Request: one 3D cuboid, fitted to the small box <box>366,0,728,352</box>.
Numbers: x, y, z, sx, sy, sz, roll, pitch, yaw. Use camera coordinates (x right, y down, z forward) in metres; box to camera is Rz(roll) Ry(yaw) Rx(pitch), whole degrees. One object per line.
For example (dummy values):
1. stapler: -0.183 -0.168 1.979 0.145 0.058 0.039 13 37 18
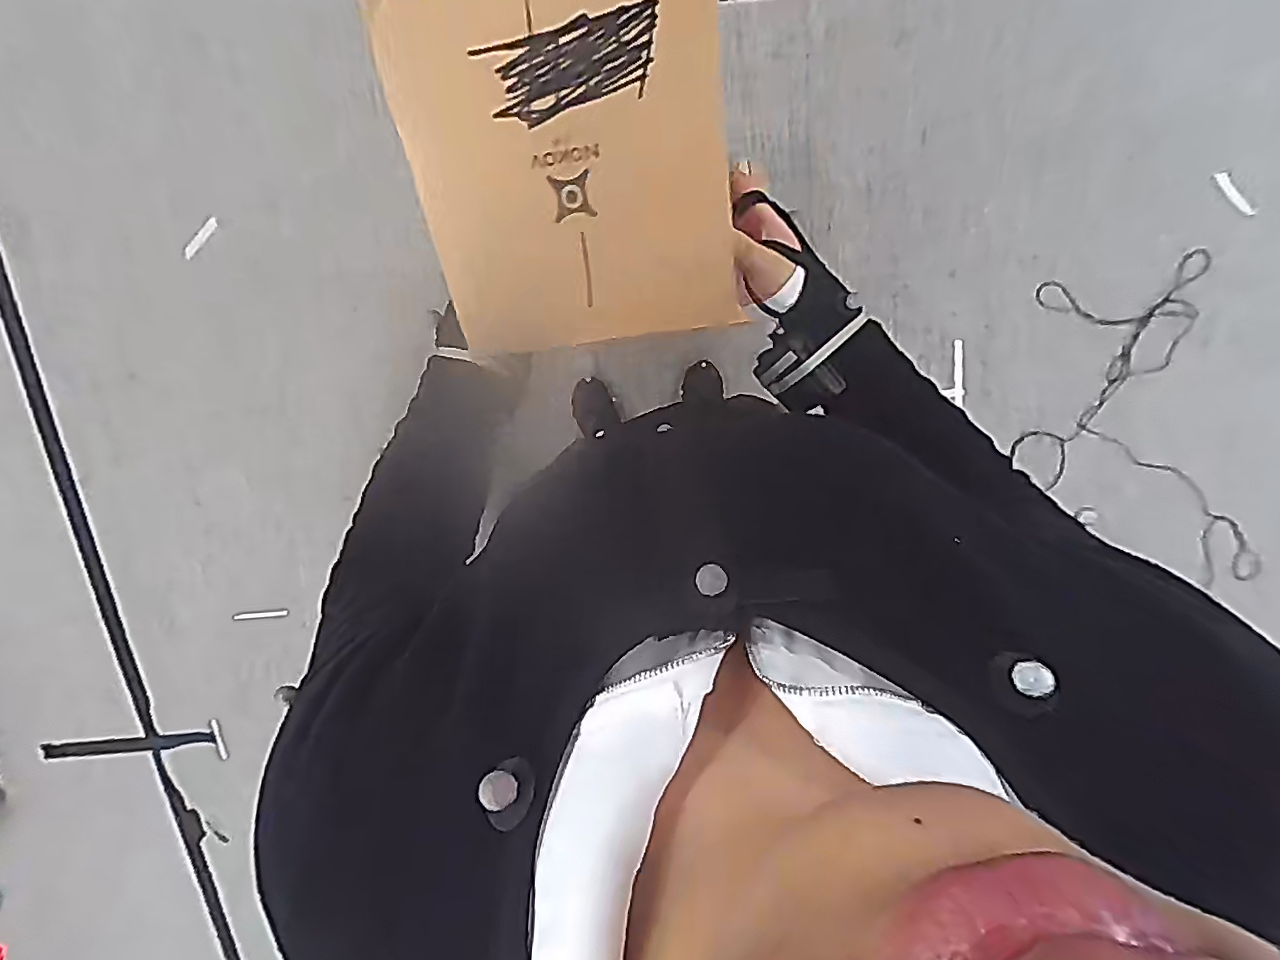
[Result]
1. small box: -0.038 -0.201 0.357 0.168 0.176 0.179 -6 120 5
